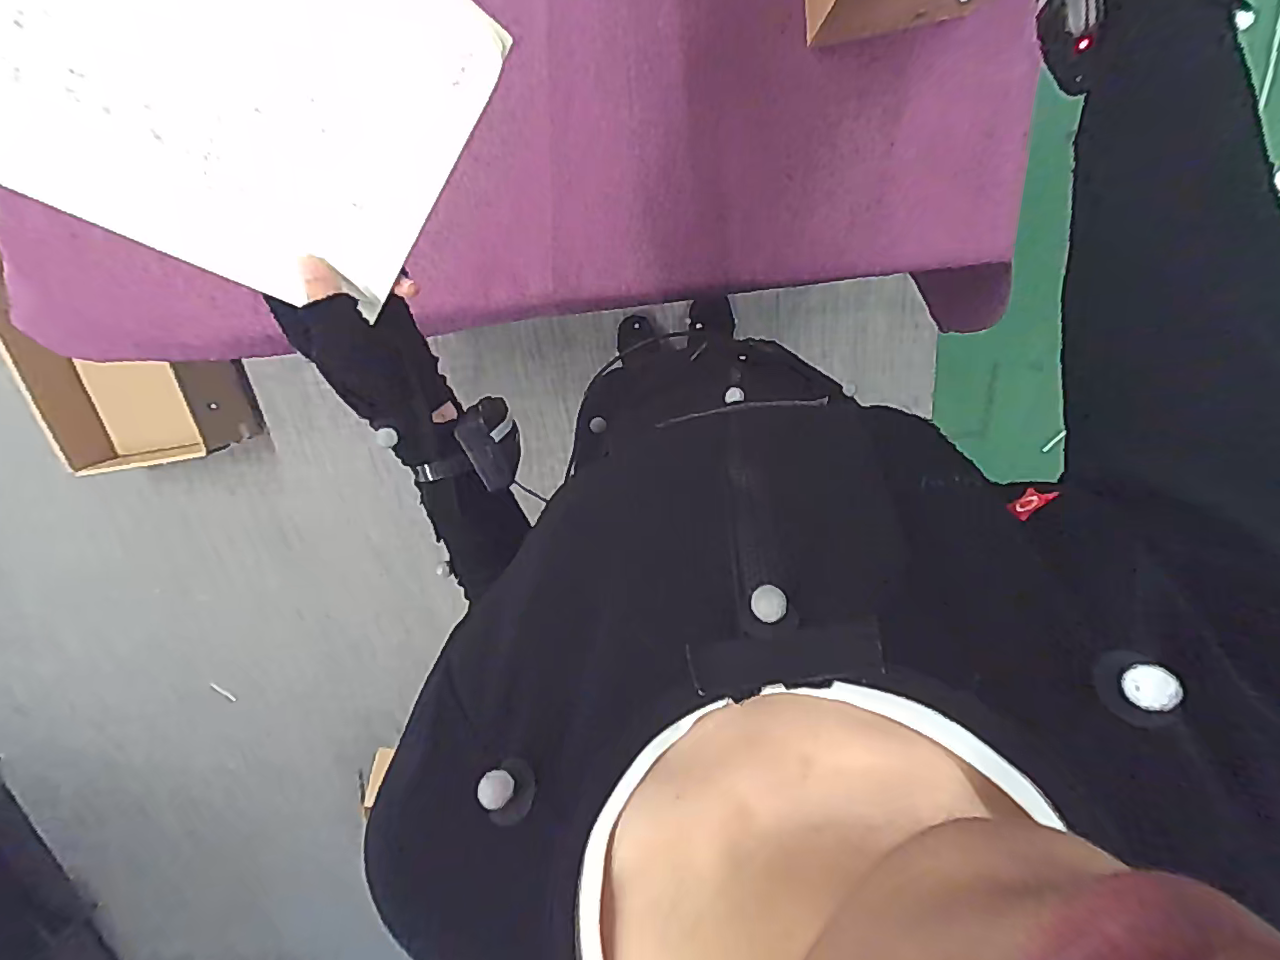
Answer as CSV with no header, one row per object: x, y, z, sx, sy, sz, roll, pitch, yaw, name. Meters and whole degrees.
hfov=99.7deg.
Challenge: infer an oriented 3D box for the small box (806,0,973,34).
0.239,-0.519,0.458,0.168,0.176,0.179,-8,109,5,small box
